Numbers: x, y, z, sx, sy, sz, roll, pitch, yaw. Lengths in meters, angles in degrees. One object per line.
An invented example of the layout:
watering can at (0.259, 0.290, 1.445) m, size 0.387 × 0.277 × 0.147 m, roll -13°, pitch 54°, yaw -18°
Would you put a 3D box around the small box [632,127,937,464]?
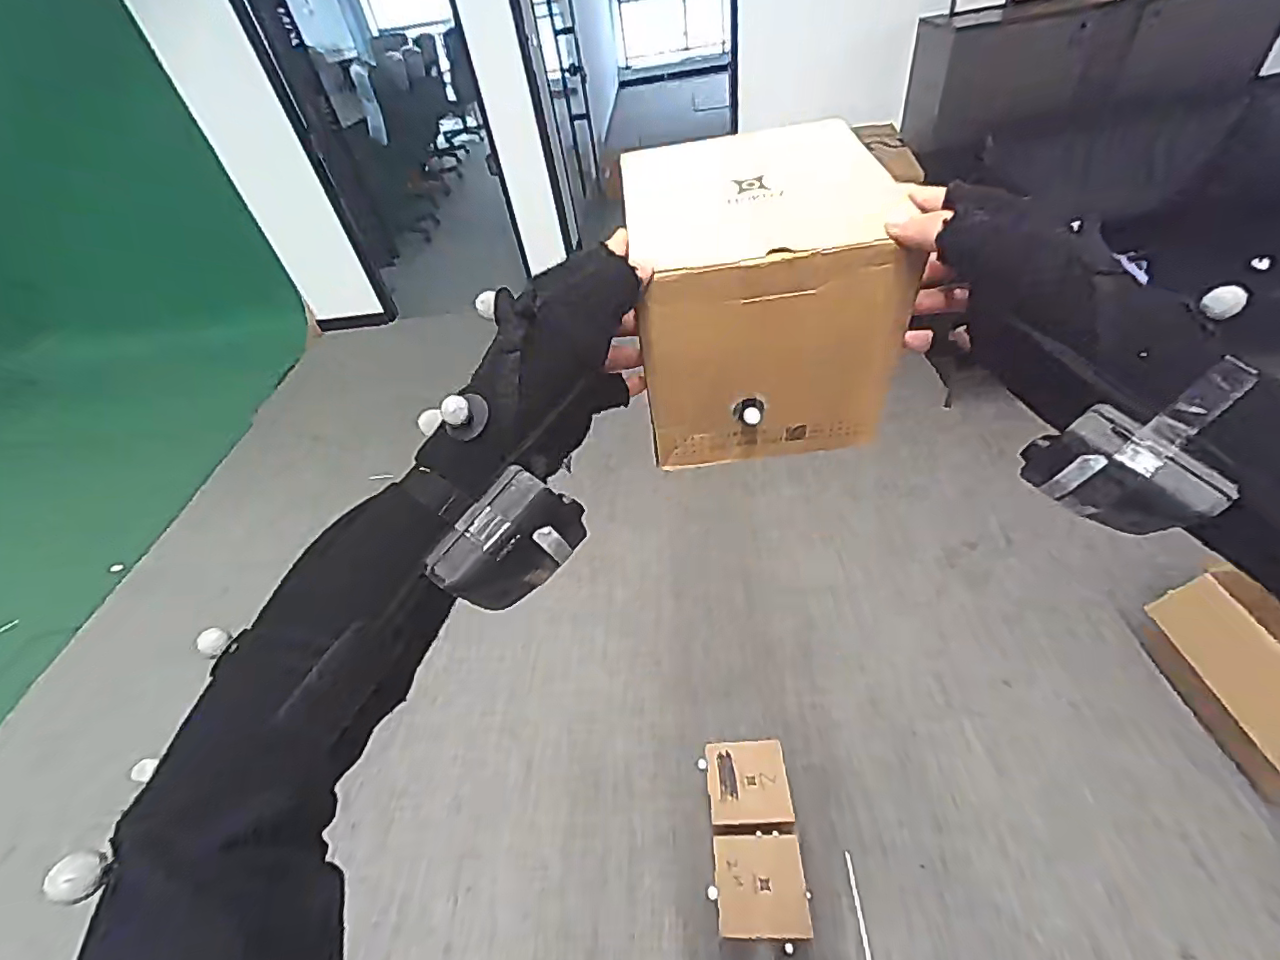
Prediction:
small box at (0.084, -0.135, 0.410) m, size 0.168 × 0.176 × 0.179 m, roll -6°, pitch 51°, yaw 3°
